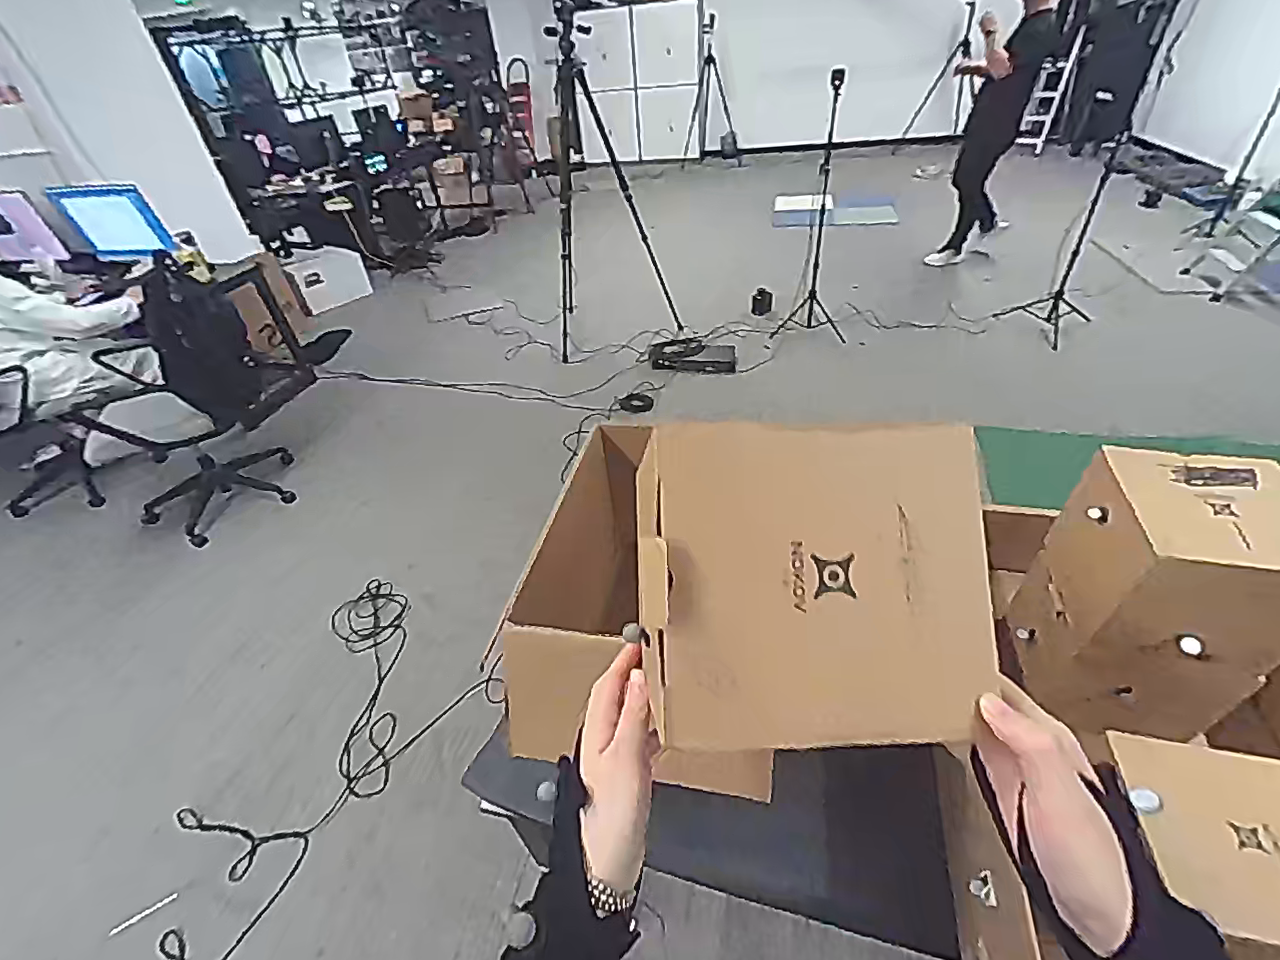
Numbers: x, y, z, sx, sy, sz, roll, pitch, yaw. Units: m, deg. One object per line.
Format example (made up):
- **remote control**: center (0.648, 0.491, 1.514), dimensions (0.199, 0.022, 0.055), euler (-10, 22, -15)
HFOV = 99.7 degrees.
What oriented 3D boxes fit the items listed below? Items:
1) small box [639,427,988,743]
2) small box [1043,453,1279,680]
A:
- **small box**: center (0.089, 0.062, 0.365), dimensions (0.179, 0.176, 0.168), euler (0, 84, -4)
- **small box**: center (0.599, 0.095, 0.618), dimensions (0.168, 0.176, 0.179), euler (7, 44, 15)
